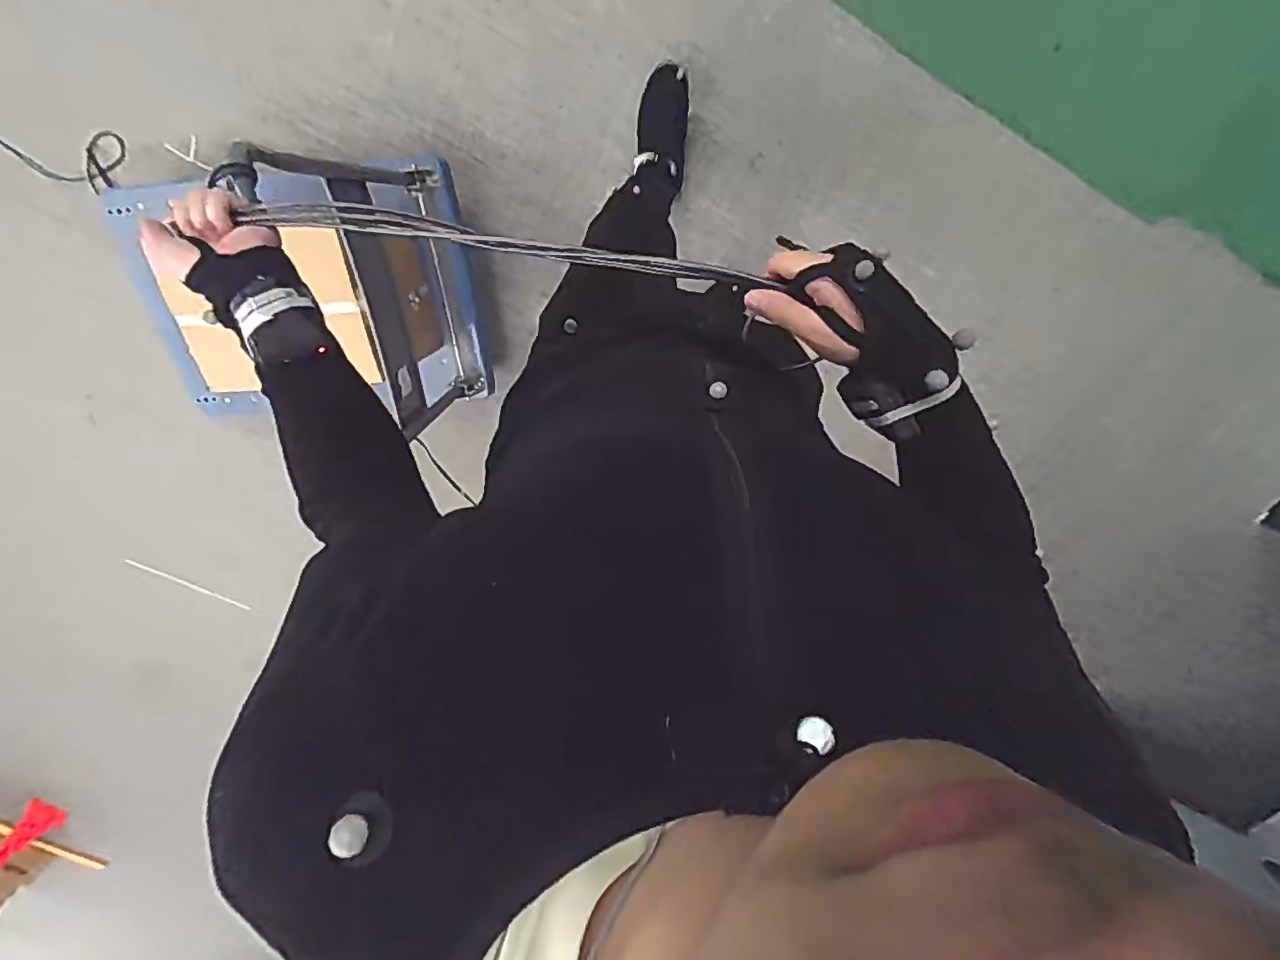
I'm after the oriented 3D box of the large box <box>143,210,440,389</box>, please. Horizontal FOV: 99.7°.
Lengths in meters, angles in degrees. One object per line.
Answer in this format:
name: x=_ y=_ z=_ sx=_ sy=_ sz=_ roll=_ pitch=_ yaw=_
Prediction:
large box: x=-0.731 y=-0.411 z=1.210 sx=0.408 sy=0.320 sz=0.320 roll=-2 pitch=116 yaw=7
